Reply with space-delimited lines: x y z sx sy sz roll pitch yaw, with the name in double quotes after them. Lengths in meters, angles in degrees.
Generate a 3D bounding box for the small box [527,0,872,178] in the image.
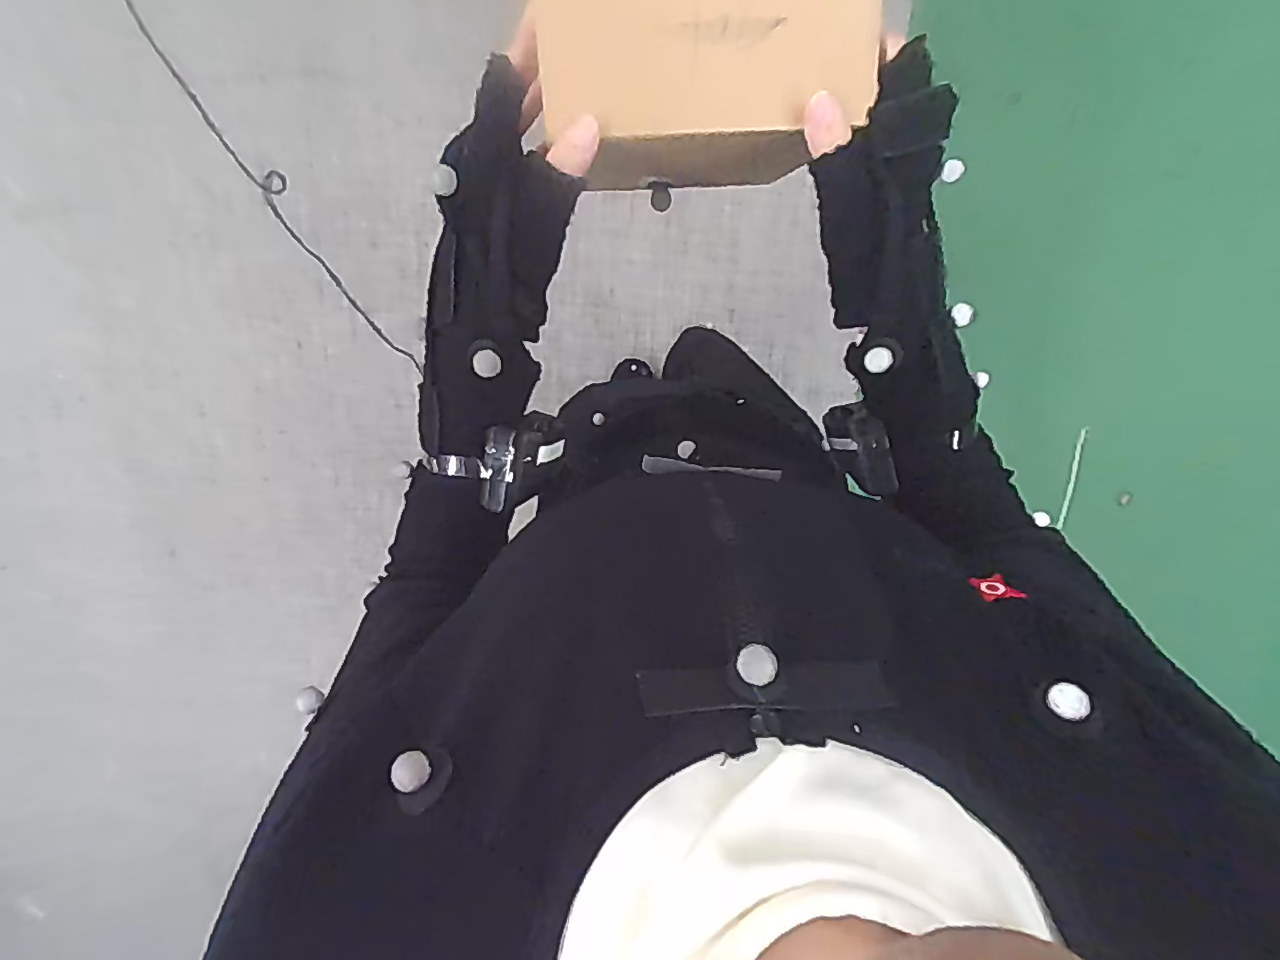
0.021 -0.291 0.313 0.168 0.176 0.179 -4 111 -3 "small box"
